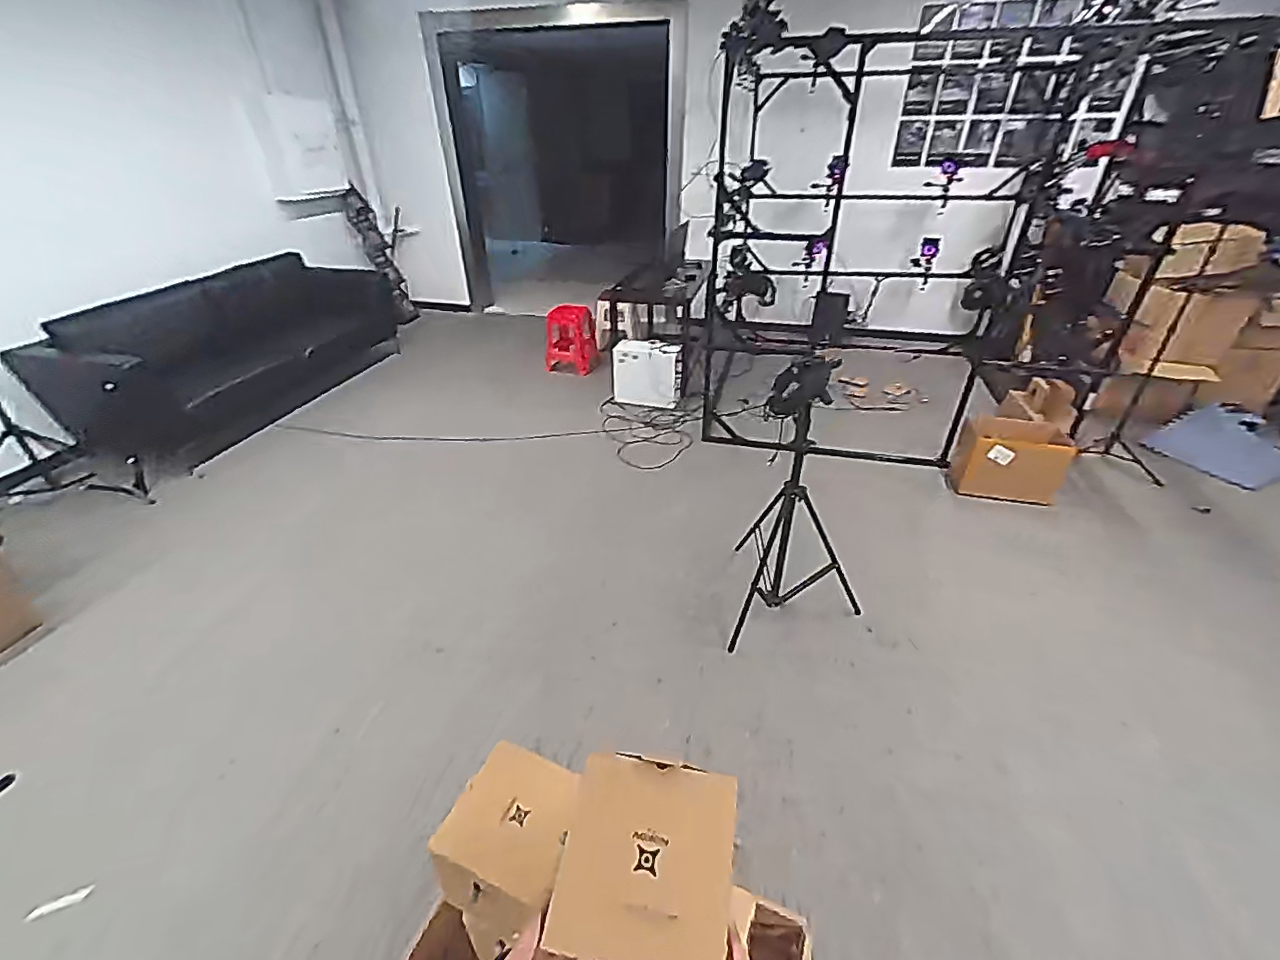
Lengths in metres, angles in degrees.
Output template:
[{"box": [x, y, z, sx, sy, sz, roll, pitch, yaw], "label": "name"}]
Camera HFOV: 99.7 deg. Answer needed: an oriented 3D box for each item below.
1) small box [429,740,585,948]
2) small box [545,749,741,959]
[{"box": [-0.165, 0.522, 0.777, 0.179, 0.176, 0.168, 14, 35, 19], "label": "small box"}, {"box": [0.012, 0.419, 0.577, 0.168, 0.176, 0.179, 6, 46, 9], "label": "small box"}]
